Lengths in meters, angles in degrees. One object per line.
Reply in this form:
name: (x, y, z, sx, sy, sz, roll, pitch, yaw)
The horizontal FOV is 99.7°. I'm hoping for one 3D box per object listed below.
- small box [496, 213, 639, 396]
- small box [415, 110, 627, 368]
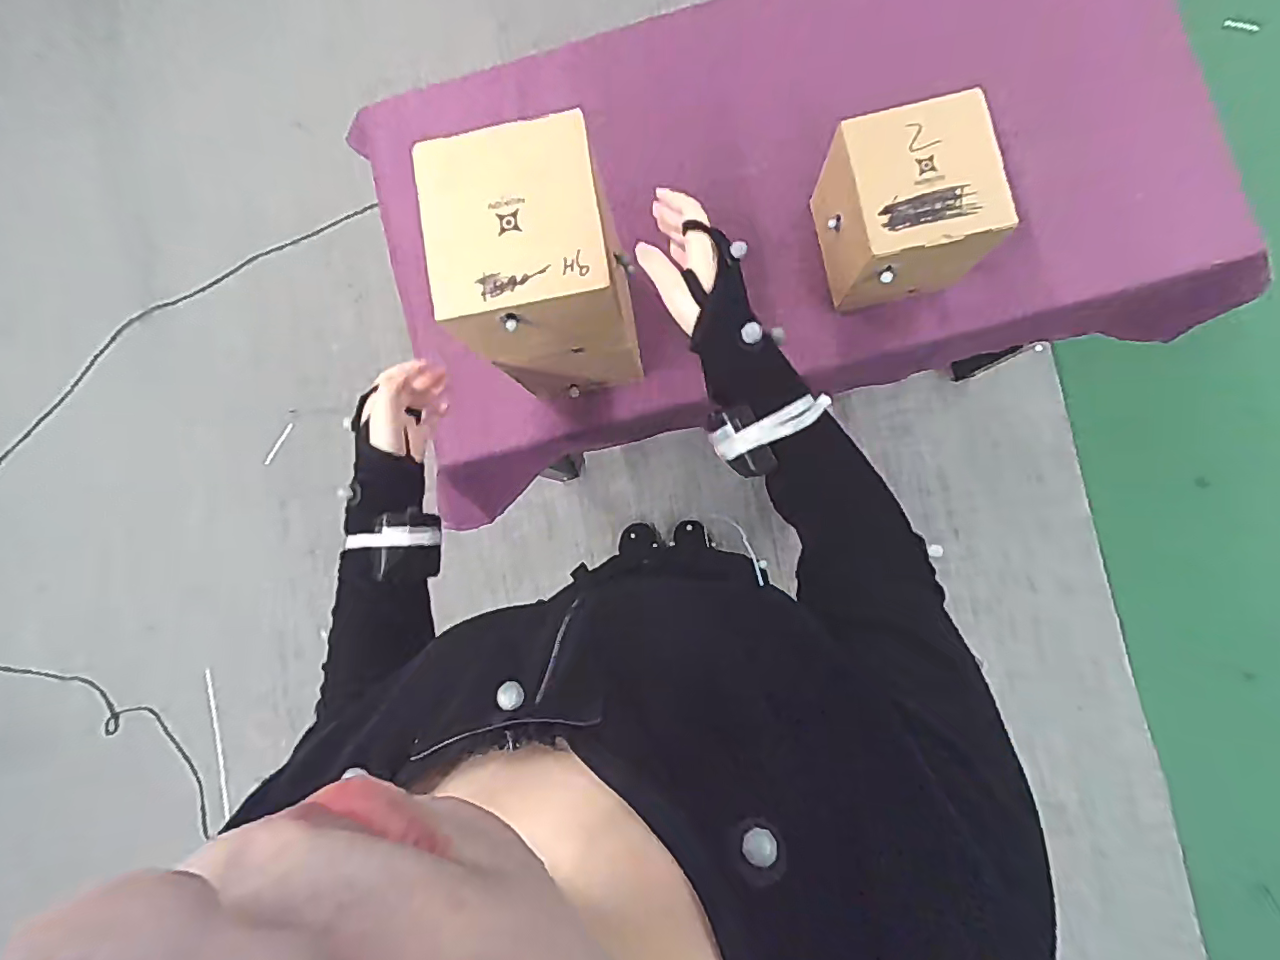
small box: (-0.099, -0.227, 0.740, 0.168, 0.176, 0.179, -9, 86, 5)
small box: (-0.114, -0.238, 0.576, 0.168, 0.176, 0.179, -9, 84, 6)
